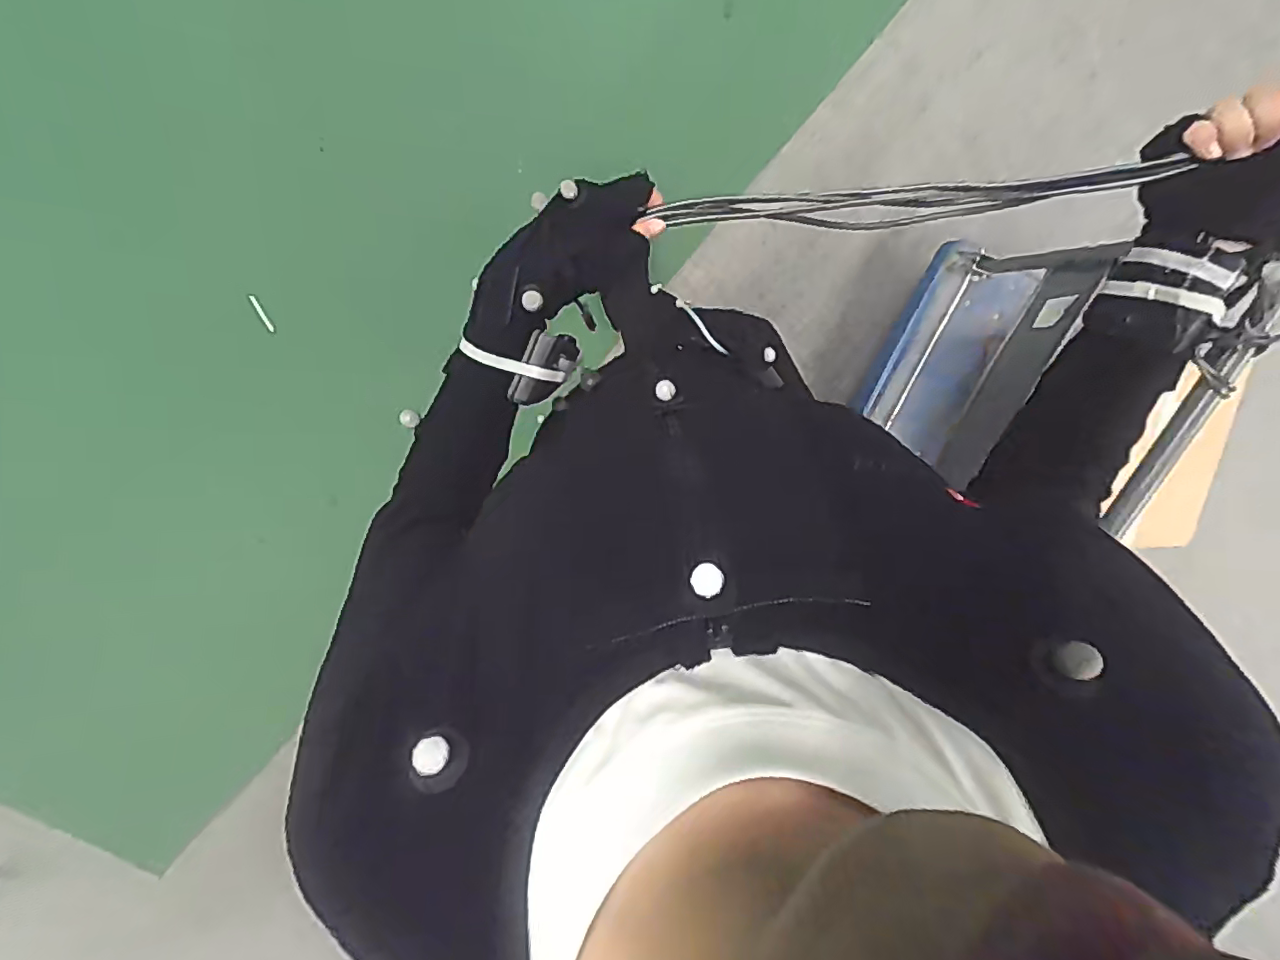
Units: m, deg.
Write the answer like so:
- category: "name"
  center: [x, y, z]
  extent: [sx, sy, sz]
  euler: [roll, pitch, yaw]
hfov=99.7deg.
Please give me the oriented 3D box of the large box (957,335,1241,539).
- category: "large box"
  center: [0.977, -0.111, 1.212]
  extent: [0.320, 0.320, 0.408]
  euler: [-1, 107, -5]
